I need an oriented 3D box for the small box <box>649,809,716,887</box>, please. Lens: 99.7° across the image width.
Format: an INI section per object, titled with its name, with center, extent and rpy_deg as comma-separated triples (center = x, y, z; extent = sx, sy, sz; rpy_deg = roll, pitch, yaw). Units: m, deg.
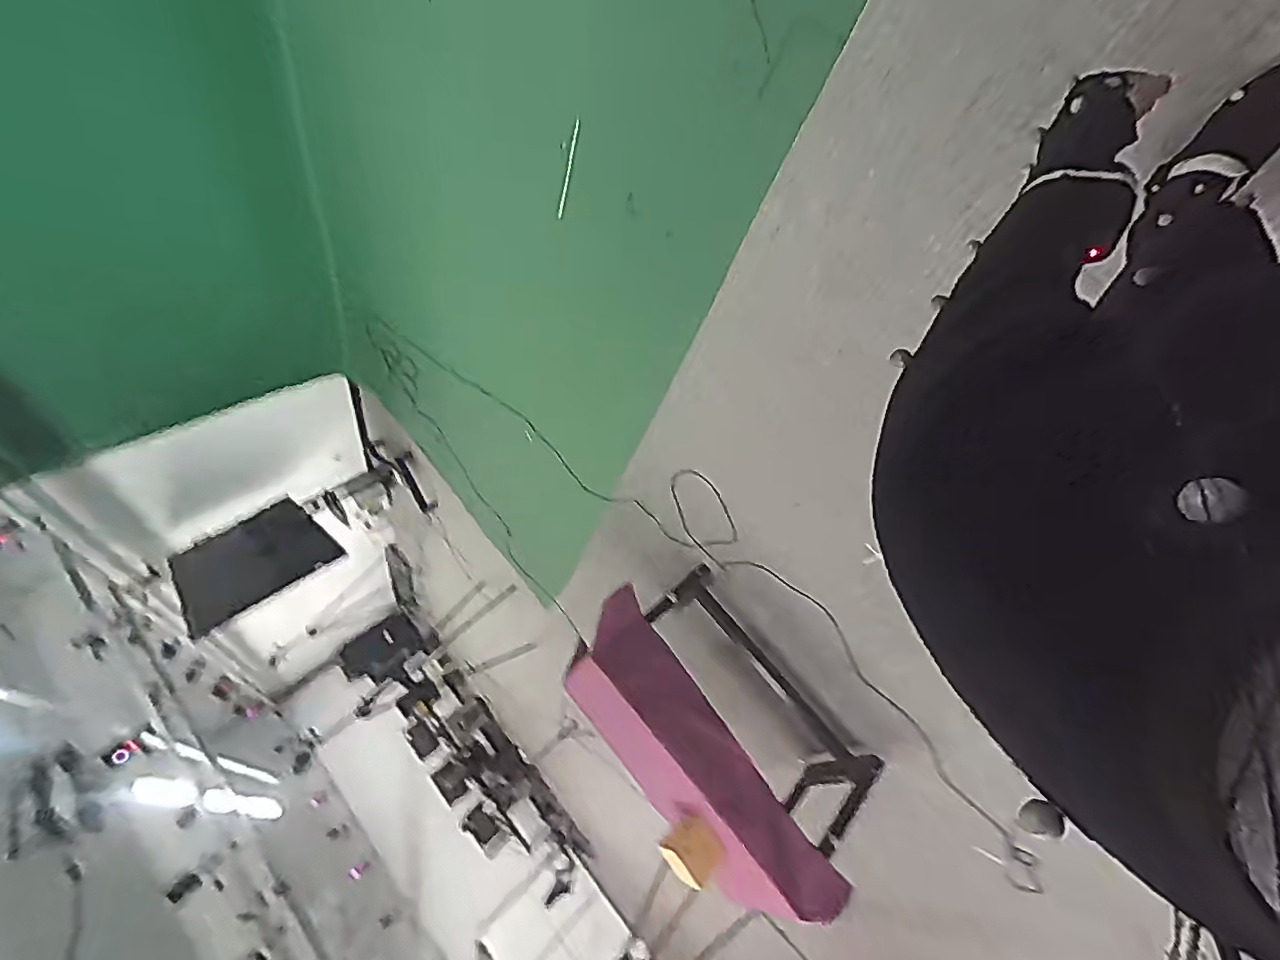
[small box]
center = 0.175, 1.477, 2.181
extent = 0.179, 0.176, 0.168
rpy_deg = 56, 146, 3
